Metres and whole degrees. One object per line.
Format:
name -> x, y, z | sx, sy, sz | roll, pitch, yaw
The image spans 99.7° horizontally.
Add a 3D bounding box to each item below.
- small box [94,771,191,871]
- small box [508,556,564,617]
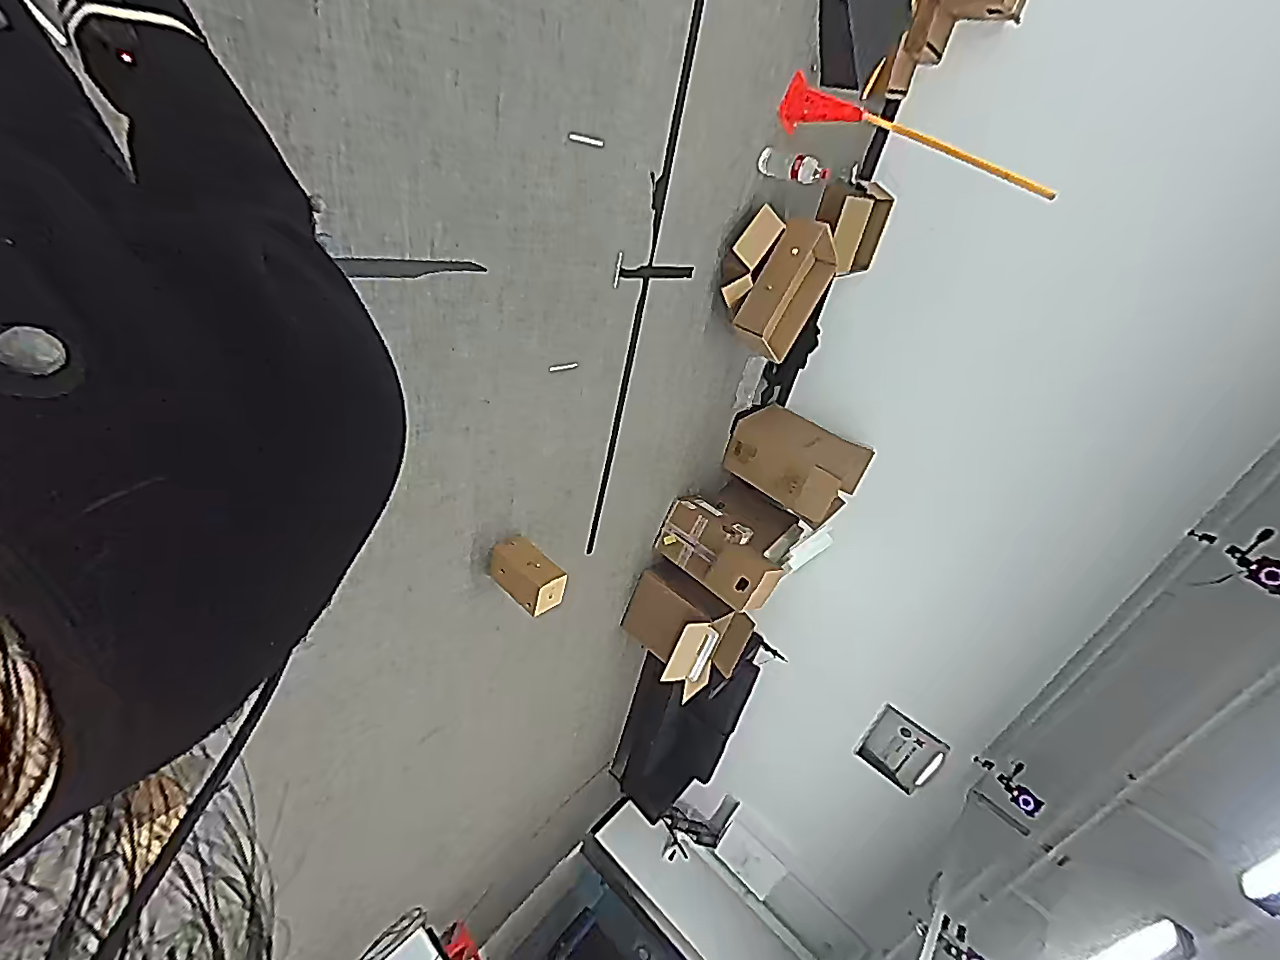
small box -> -1.540, 1.046, 1.676 | 0.168, 0.176, 0.179 | -26, 140, -43
small box -> -0.470, 0.471, 2.418 | 0.168, 0.176, 0.179 | -21, 135, -49
